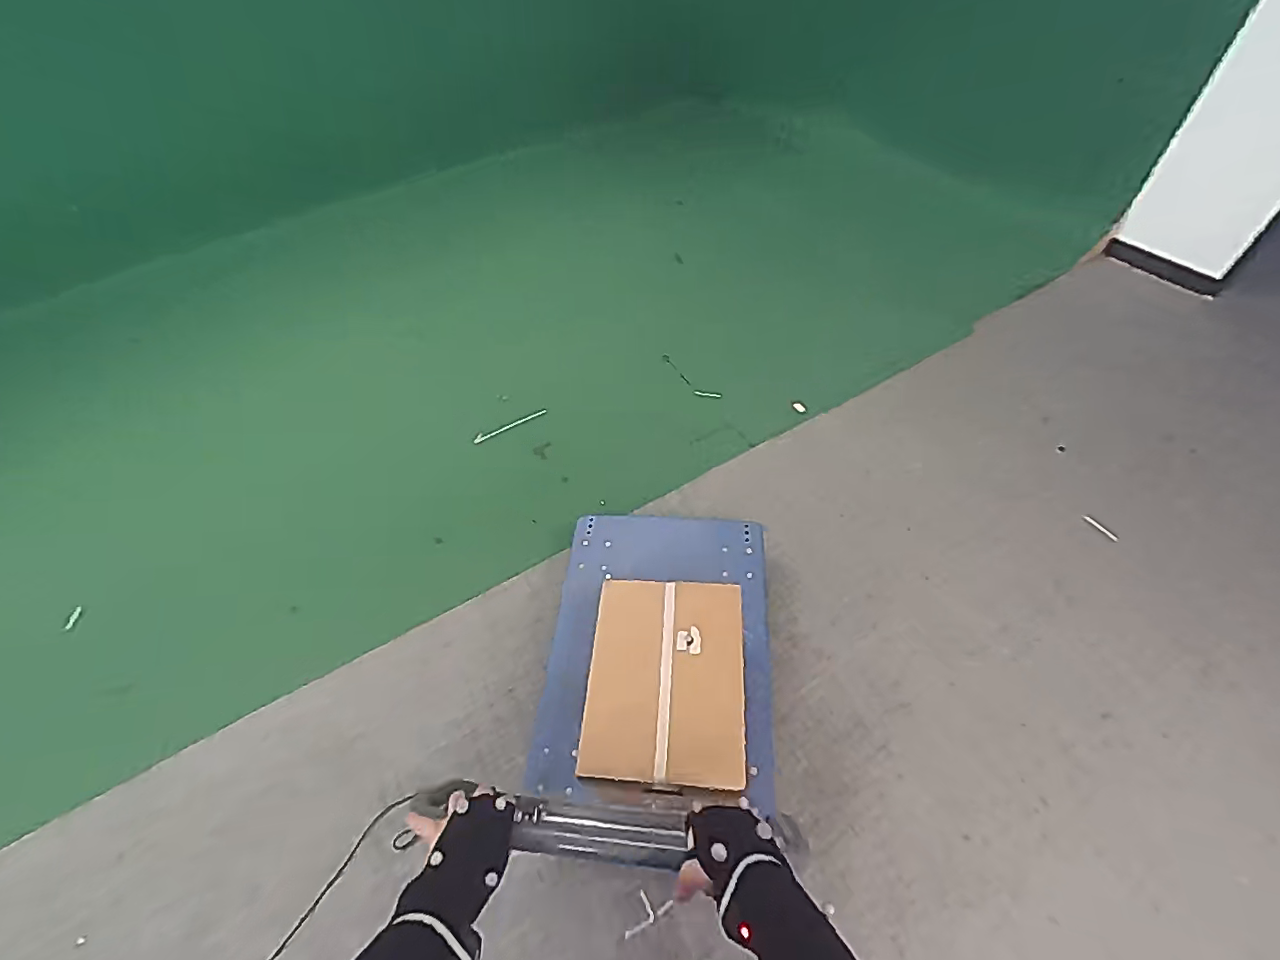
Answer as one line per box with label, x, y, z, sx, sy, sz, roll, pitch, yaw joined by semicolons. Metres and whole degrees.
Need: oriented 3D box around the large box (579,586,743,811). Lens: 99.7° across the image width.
large box;0.063;0.498;1.234;0.320;0.320;0.408;2;52;6
